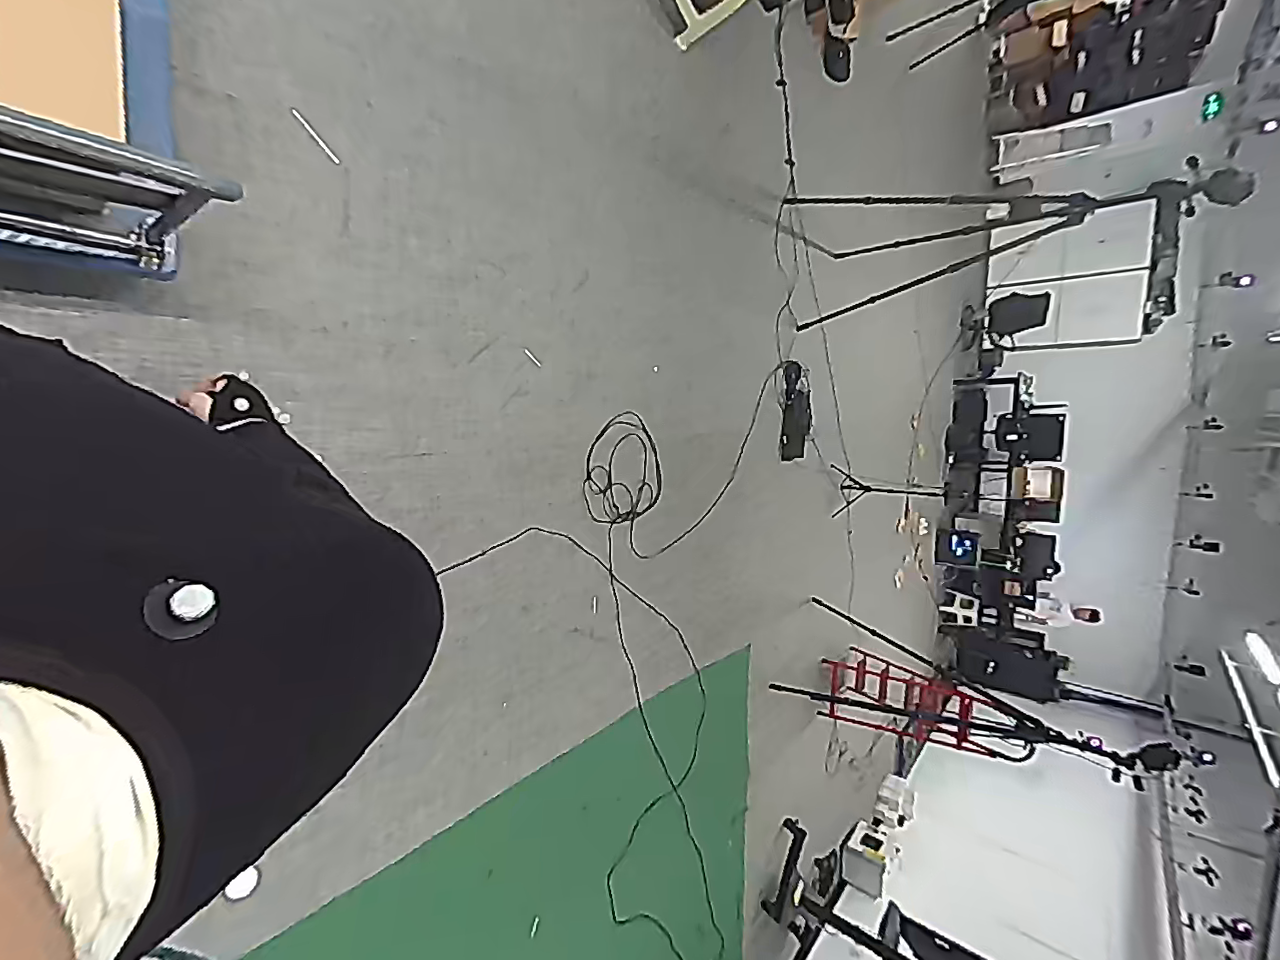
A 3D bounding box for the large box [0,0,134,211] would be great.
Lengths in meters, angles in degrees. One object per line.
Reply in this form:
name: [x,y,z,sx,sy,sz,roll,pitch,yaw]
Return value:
large box: [-1.004,-0.689,0.814,0.320,0.320,0.408,-4,97,-49]
